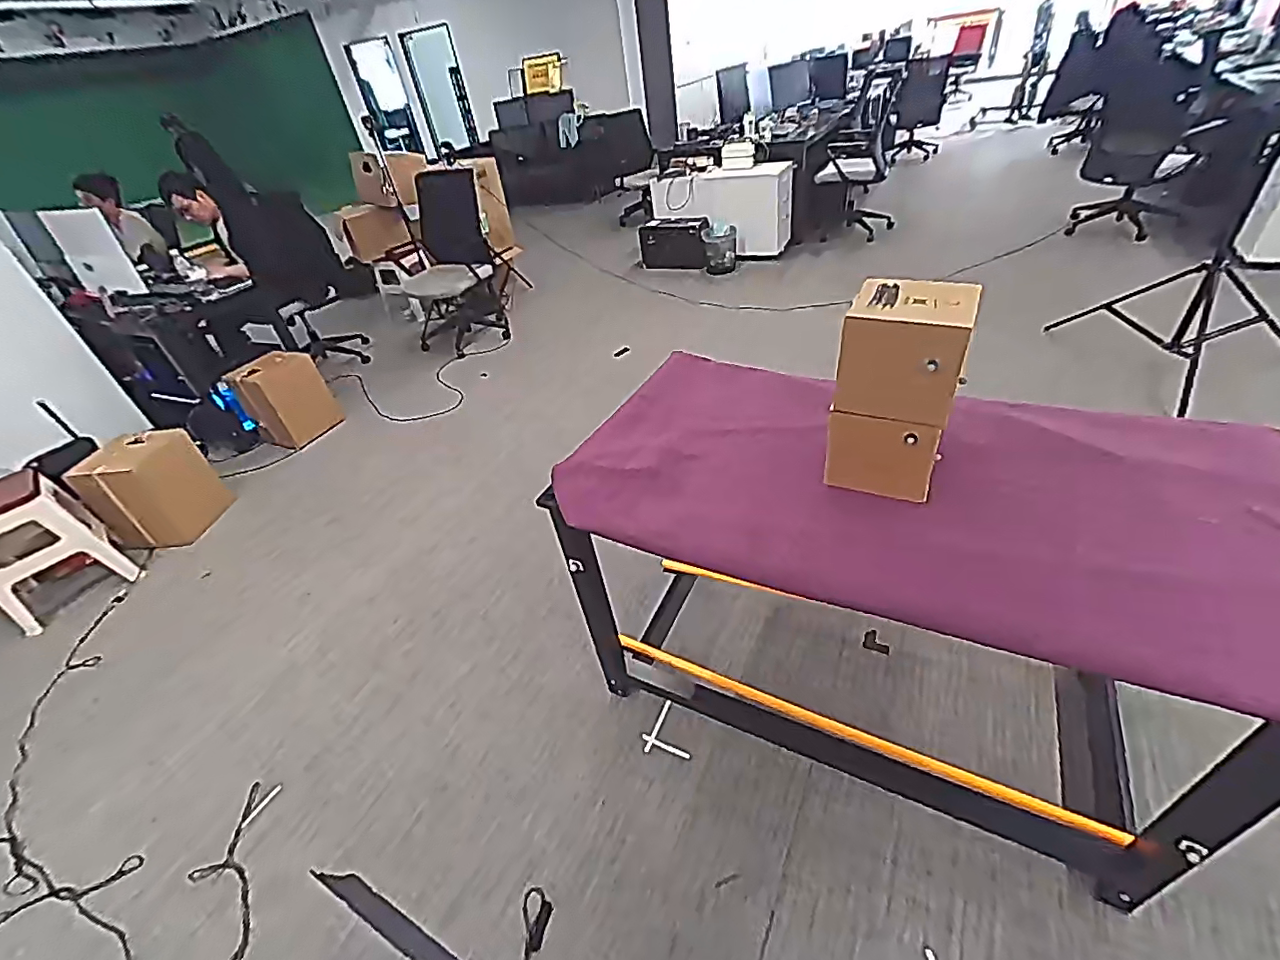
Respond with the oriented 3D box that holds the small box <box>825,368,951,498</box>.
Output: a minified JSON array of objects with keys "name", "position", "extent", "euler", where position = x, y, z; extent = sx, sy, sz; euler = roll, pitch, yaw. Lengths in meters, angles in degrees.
[{"name":"small box","position":[0.448,-0.087,0.991],"extent":[0.179,0.176,0.168],"euler":[13,43,26]}]
